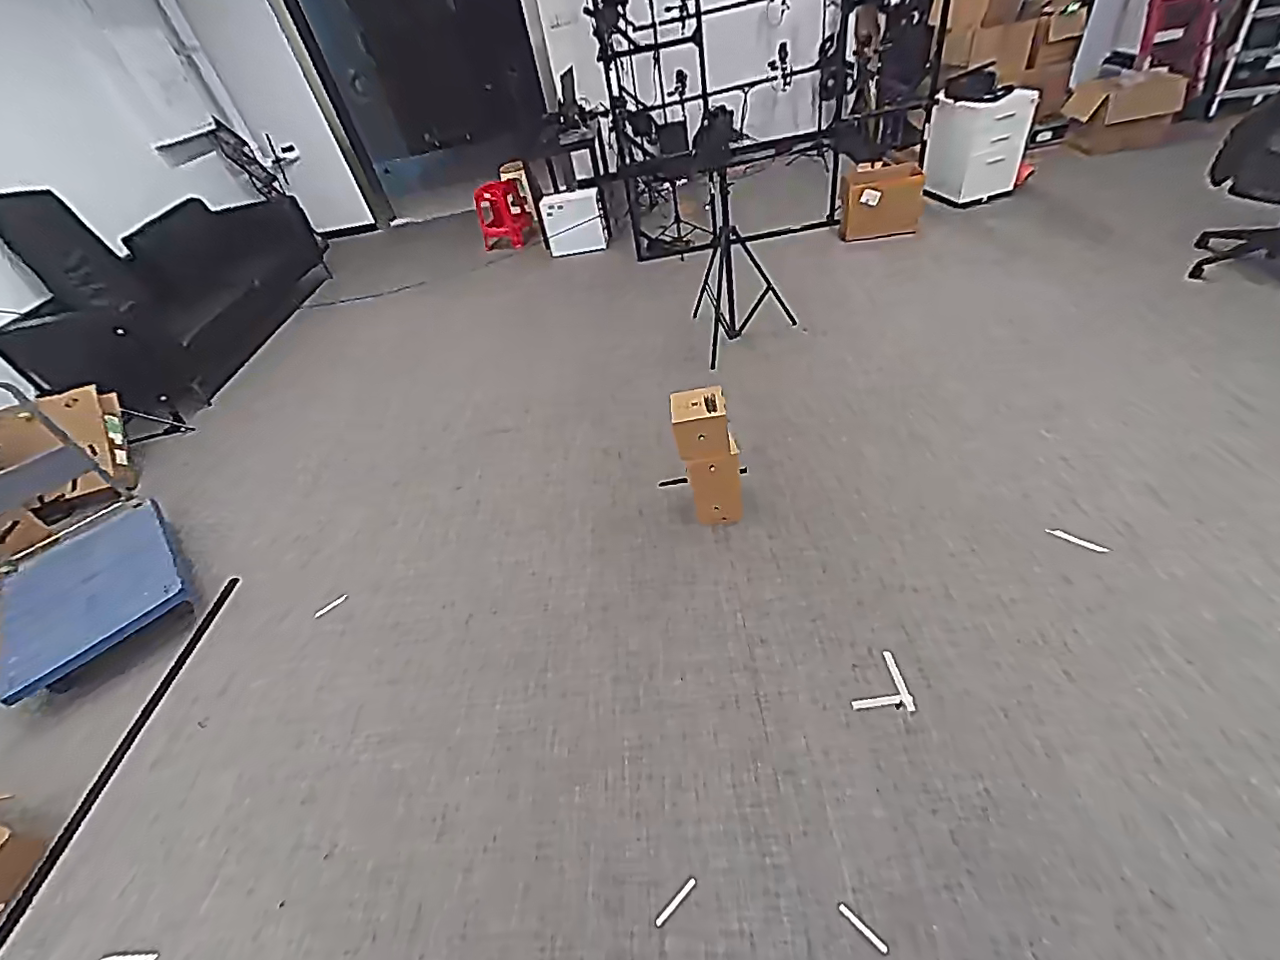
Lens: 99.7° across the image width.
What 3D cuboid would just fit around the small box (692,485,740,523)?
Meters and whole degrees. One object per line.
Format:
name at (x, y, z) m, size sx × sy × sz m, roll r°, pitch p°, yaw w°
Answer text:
small box at (0.282, 0.047, 2.035) m, size 0.168 × 0.176 × 0.179 m, roll -6°, pitch 42°, yaw 8°

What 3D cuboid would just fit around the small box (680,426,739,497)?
small box at (0.248, -0.063, 1.921) m, size 0.179 × 0.176 × 0.168 m, roll -13°, pitch 42°, yaw 2°
